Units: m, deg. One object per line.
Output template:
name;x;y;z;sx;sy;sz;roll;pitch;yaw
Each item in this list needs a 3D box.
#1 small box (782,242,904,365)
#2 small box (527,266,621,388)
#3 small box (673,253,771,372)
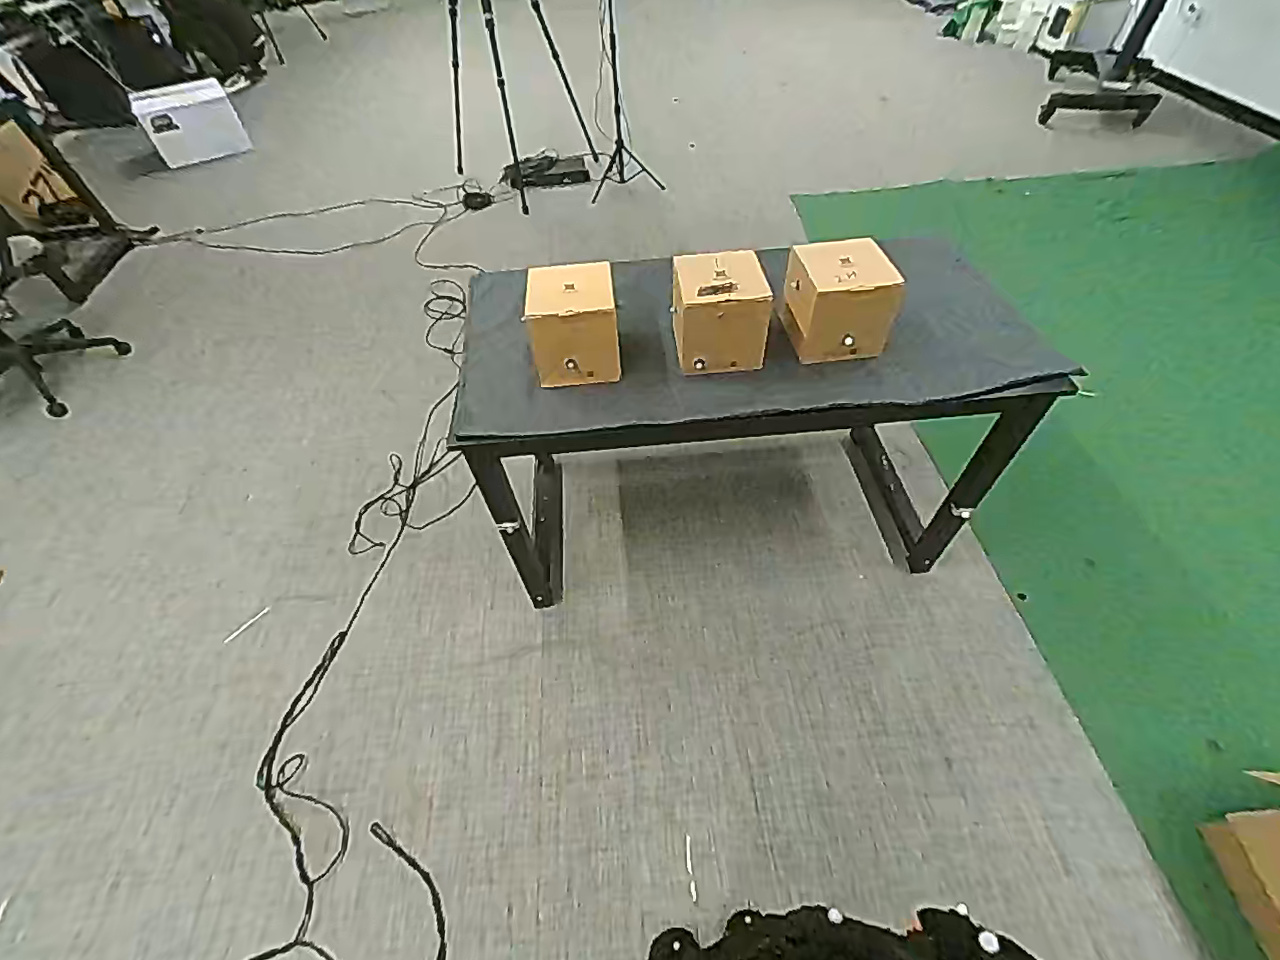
small box;0.399;-0.358;1.104;0.168;0.176;0.179;-7;51;-2
small box;-0.129;-0.308;1.092;0.168;0.176;0.179;-6;50;-2
small box;0.158;-0.332;1.096;0.168;0.176;0.179;-5;50;-1
